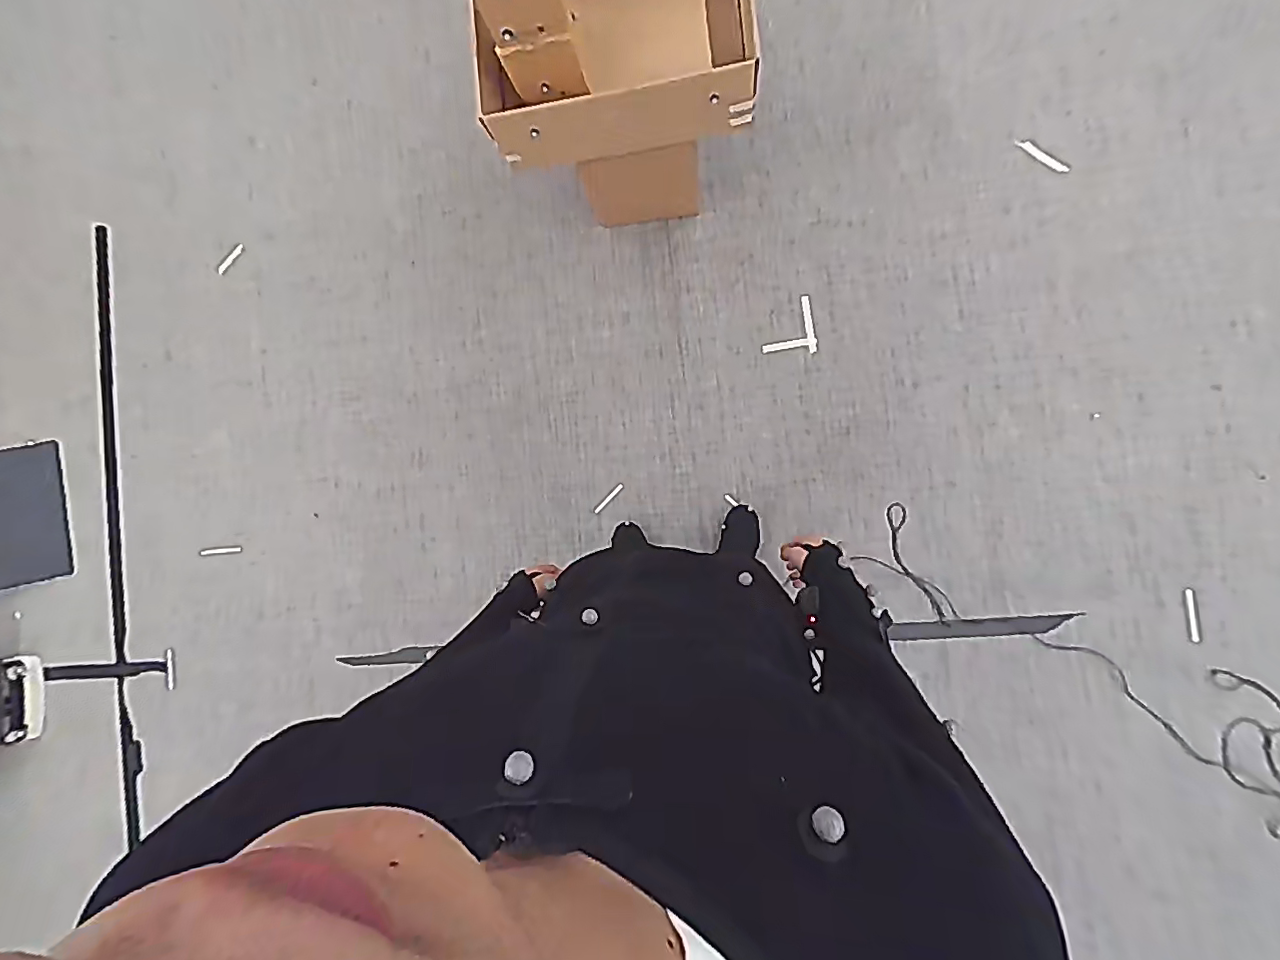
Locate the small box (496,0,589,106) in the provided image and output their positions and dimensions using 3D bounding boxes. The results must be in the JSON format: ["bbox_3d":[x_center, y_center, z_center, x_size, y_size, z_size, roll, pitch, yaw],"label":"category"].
[{"bbox_3d":[-0.220,-1.004,1.229,0.168,0.176,0.179,-7,87,9],"label":"small box"}]

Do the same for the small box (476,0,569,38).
[{"bbox_3d":[-0.245,-1.024,1.068,0.168,0.176,0.179,-7,86,9],"label":"small box"}]
